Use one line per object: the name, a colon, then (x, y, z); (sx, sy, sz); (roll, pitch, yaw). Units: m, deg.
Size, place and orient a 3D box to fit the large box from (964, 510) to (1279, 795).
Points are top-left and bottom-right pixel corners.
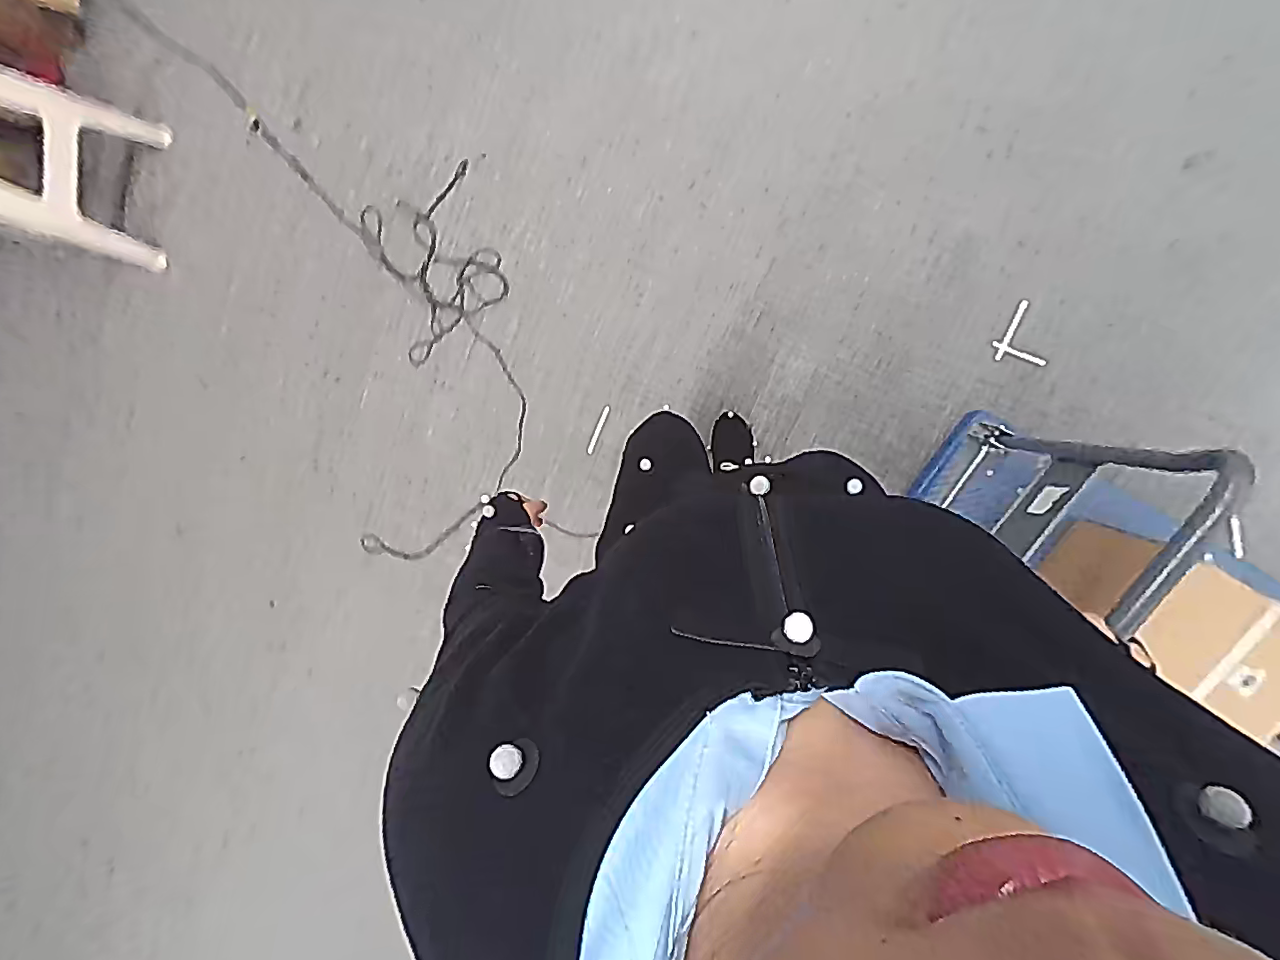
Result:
large box: (0.988, 0.329, 1.129); (0.320, 0.320, 0.408); (31, 100, 1)
